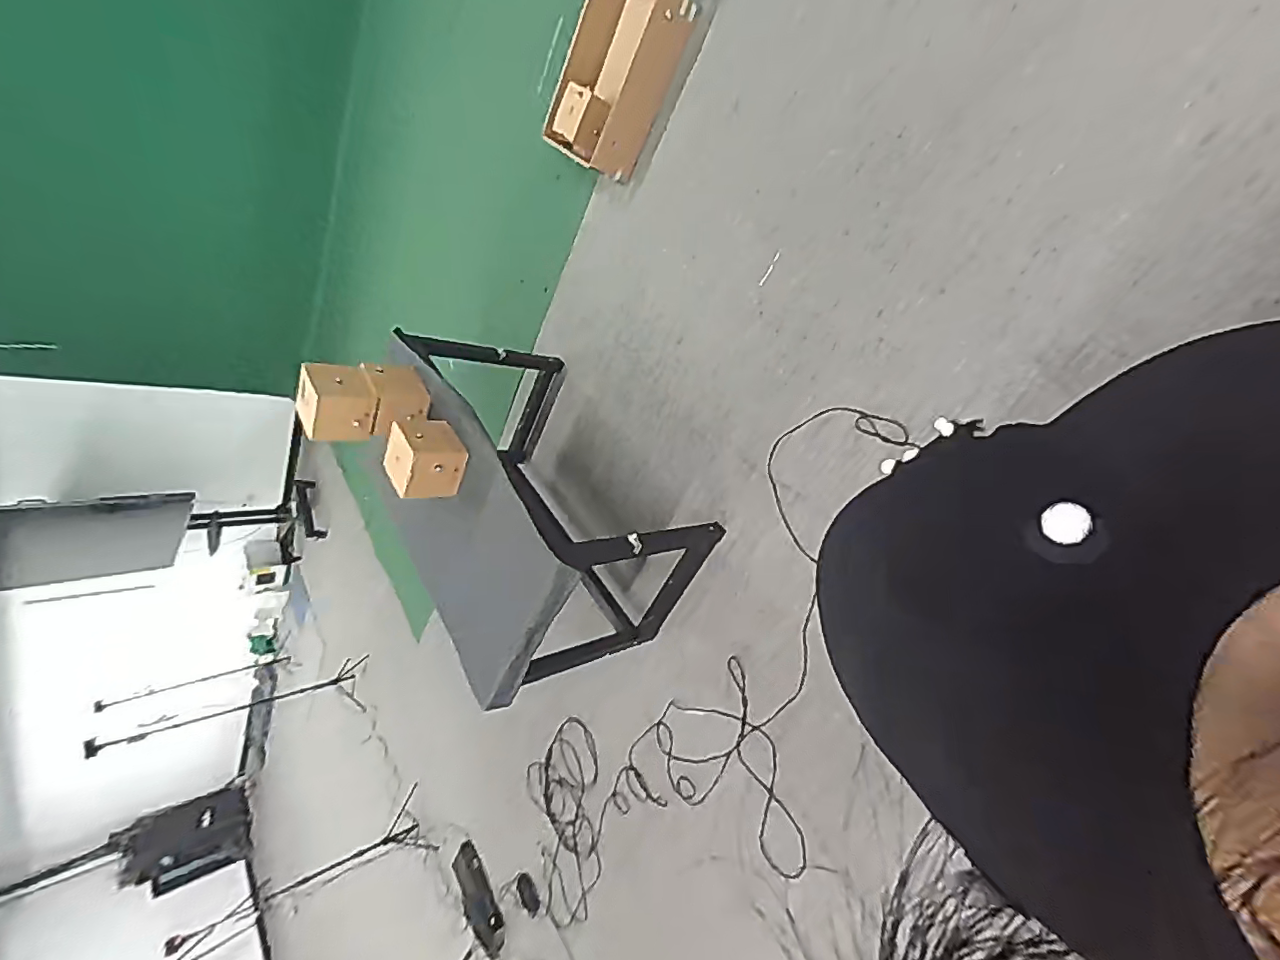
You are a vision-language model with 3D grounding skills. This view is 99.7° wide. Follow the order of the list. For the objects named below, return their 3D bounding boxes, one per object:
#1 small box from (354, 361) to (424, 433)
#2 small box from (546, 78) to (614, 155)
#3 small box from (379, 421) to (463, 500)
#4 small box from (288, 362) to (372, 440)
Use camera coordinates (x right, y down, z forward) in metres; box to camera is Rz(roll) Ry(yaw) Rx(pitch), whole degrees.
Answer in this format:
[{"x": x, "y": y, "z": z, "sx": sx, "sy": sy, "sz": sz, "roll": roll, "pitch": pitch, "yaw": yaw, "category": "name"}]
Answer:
[{"x": -0.831, "y": -0.264, "z": 1.761, "sx": 0.179, "sy": 0.176, "sz": 0.168, "roll": 50, "pitch": 126, "yaw": 28, "category": "small box"}, {"x": -0.226, "y": -1.385, "z": 2.069, "sx": 0.168, "sy": 0.176, "sz": 0.179, "roll": 49, "pitch": 123, "yaw": 30, "category": "small box"}, {"x": -0.647, "y": -0.063, "z": 1.602, "sx": 0.179, "sy": 0.176, "sz": 0.168, "roll": 47, "pitch": 122, "yaw": 33, "category": "small box"}, {"x": -0.943, "y": -0.236, "z": 1.643, "sx": 0.179, "sy": 0.176, "sz": 0.168, "roll": 49, "pitch": 125, "yaw": 28, "category": "small box"}]
